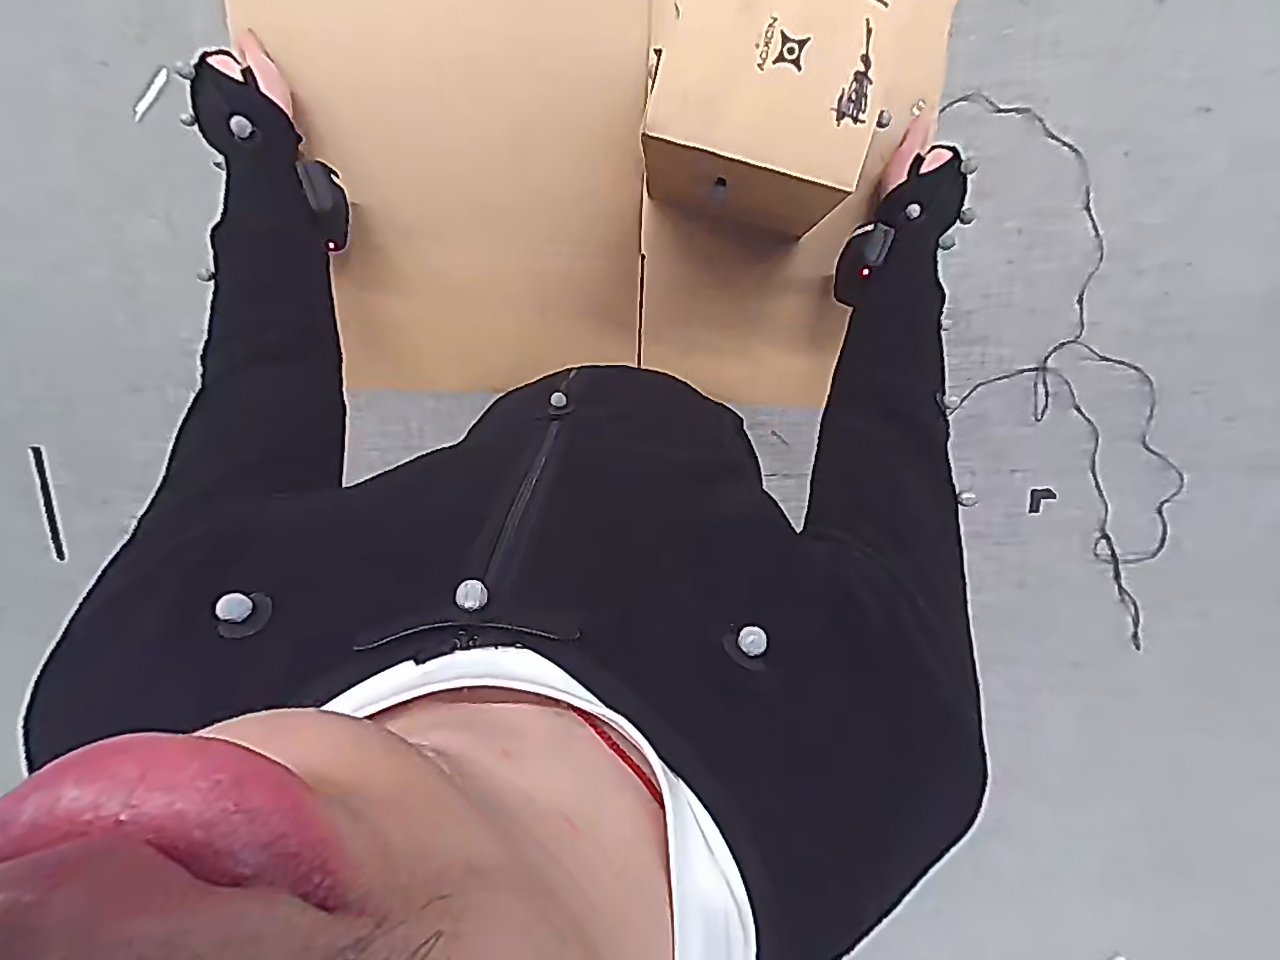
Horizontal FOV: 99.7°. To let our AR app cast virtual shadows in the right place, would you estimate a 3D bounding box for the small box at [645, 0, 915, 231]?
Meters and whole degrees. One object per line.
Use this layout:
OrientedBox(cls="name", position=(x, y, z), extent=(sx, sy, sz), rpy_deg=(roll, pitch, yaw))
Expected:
OrientedBox(cls="small box", position=(0.112, -0.346, 0.491), extent=(0.179, 0.176, 0.168), rpy_deg=(15, 103, 0))
